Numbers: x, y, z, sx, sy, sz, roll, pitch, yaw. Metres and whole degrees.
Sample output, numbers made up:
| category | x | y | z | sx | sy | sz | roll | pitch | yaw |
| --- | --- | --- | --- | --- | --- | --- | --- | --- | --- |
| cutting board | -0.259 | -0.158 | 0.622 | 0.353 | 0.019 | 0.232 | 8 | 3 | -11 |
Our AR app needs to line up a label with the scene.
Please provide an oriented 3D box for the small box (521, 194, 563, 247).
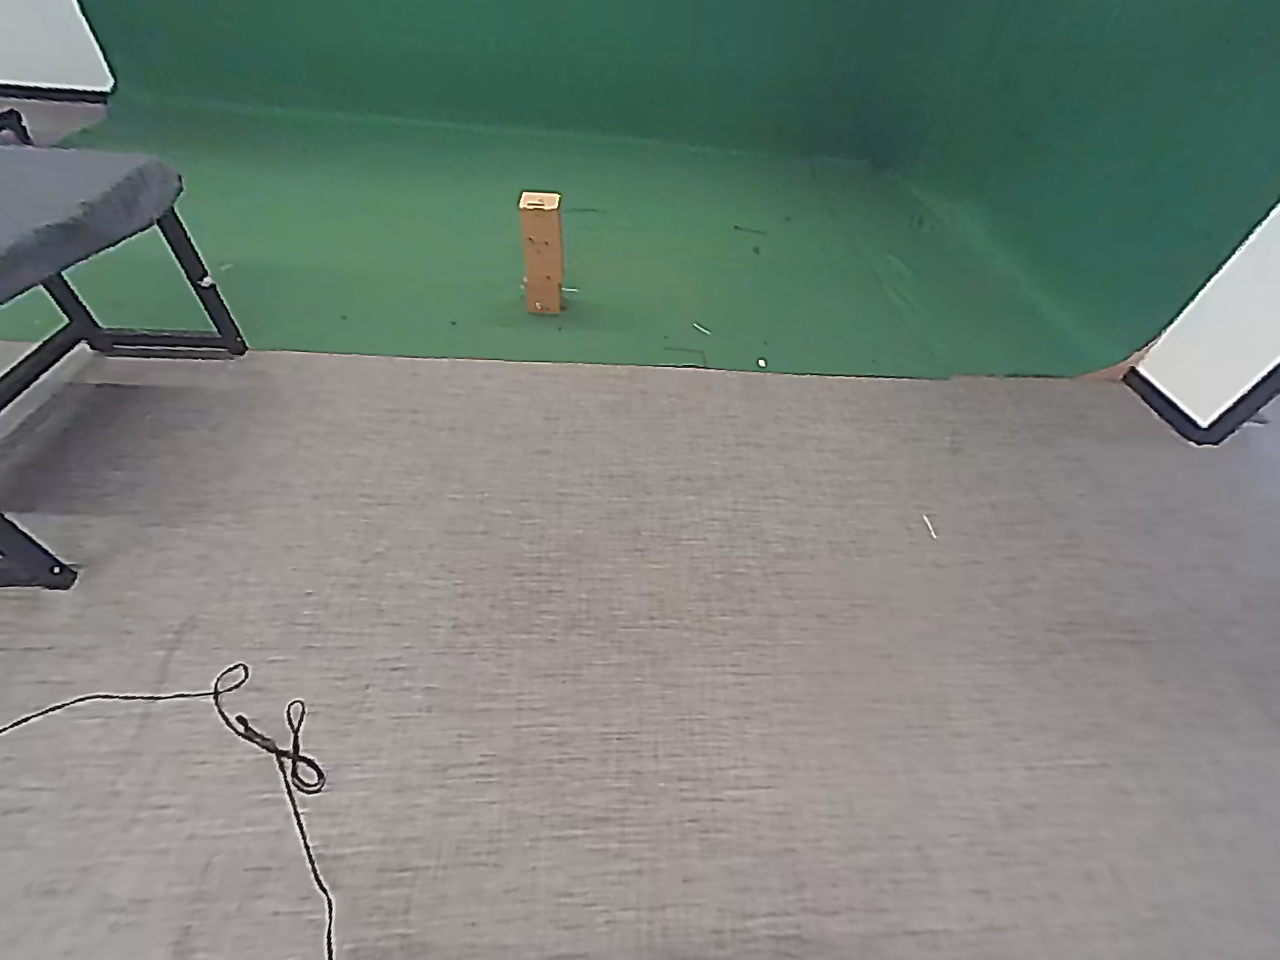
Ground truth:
| category | x | y | z | sx | sy | sz | roll | pitch | yaw |
| --- | --- | --- | --- | --- | --- | --- | --- | --- | --- |
| small box | -0.437 | -1.169 | 2.436 | 0.168 | 0.176 | 0.179 | 2 | 46 | -4 |

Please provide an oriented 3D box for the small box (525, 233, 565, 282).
| category | x | y | z | sx | sy | sz | roll | pitch | yaw |
| --- | --- | --- | --- | --- | --- | --- | --- | --- | --- |
| small box | -0.445 | -1.058 | 2.558 | 0.168 | 0.176 | 0.179 | 1 | 46 | -4 |

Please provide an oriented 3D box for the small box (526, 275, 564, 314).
| category | x | y | z | sx | sy | sz | roll | pitch | yaw |
| --- | --- | --- | --- | --- | --- | --- | --- | --- | --- |
| small box | -0.466 | -0.944 | 2.674 | 0.168 | 0.176 | 0.179 | 1 | 49 | -4 |
